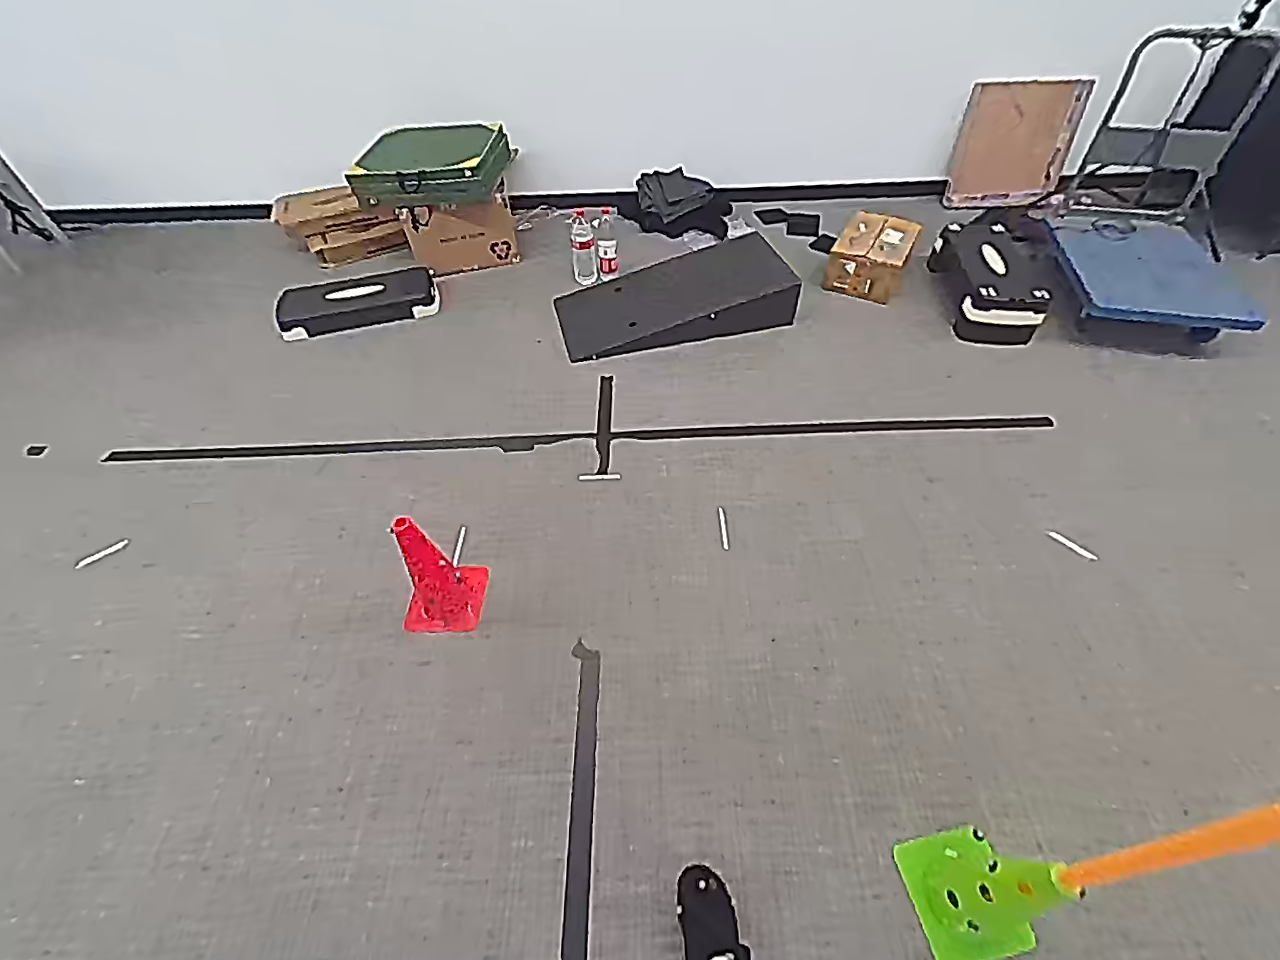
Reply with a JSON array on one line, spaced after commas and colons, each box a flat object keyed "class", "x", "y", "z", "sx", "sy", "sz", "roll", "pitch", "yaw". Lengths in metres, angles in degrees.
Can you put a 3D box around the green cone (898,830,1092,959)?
[{"class": "green cone", "x": 0.624, "y": 0.700, "z": 0.912, "sx": 0.200, "sy": 0.368, "sz": 0.202, "roll": -10, "pitch": 51, "yaw": -6}]
